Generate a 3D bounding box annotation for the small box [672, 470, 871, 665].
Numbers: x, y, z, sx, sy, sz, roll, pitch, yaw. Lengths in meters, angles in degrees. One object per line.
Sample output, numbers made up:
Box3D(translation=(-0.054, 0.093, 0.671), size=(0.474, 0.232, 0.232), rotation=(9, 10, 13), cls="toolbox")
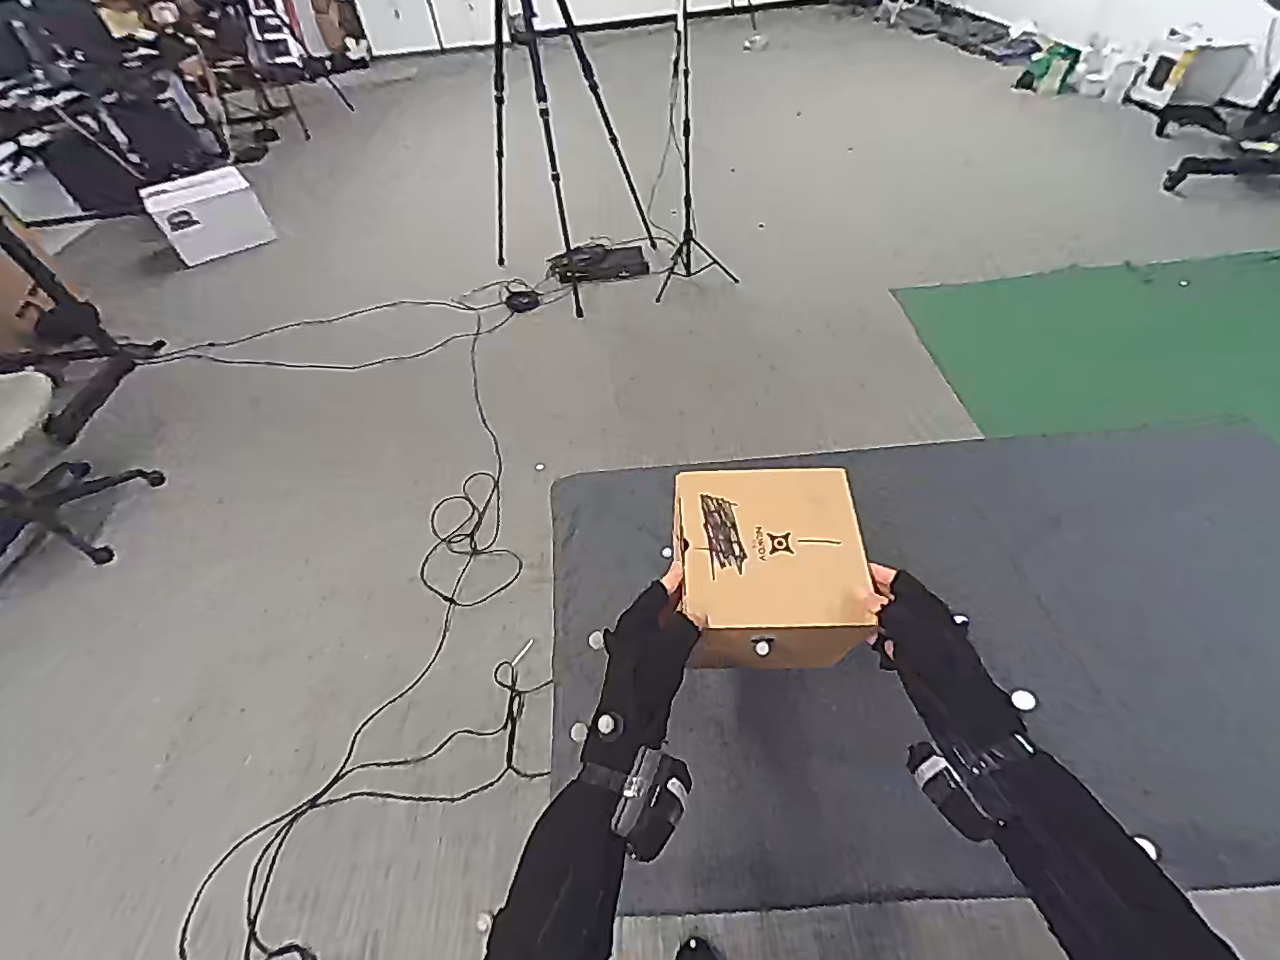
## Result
Box3D(translation=(0.125, 0.102, 0.595), size=(0.179, 0.176, 0.168), rotation=(-1, 59, 1), cls="small box")
